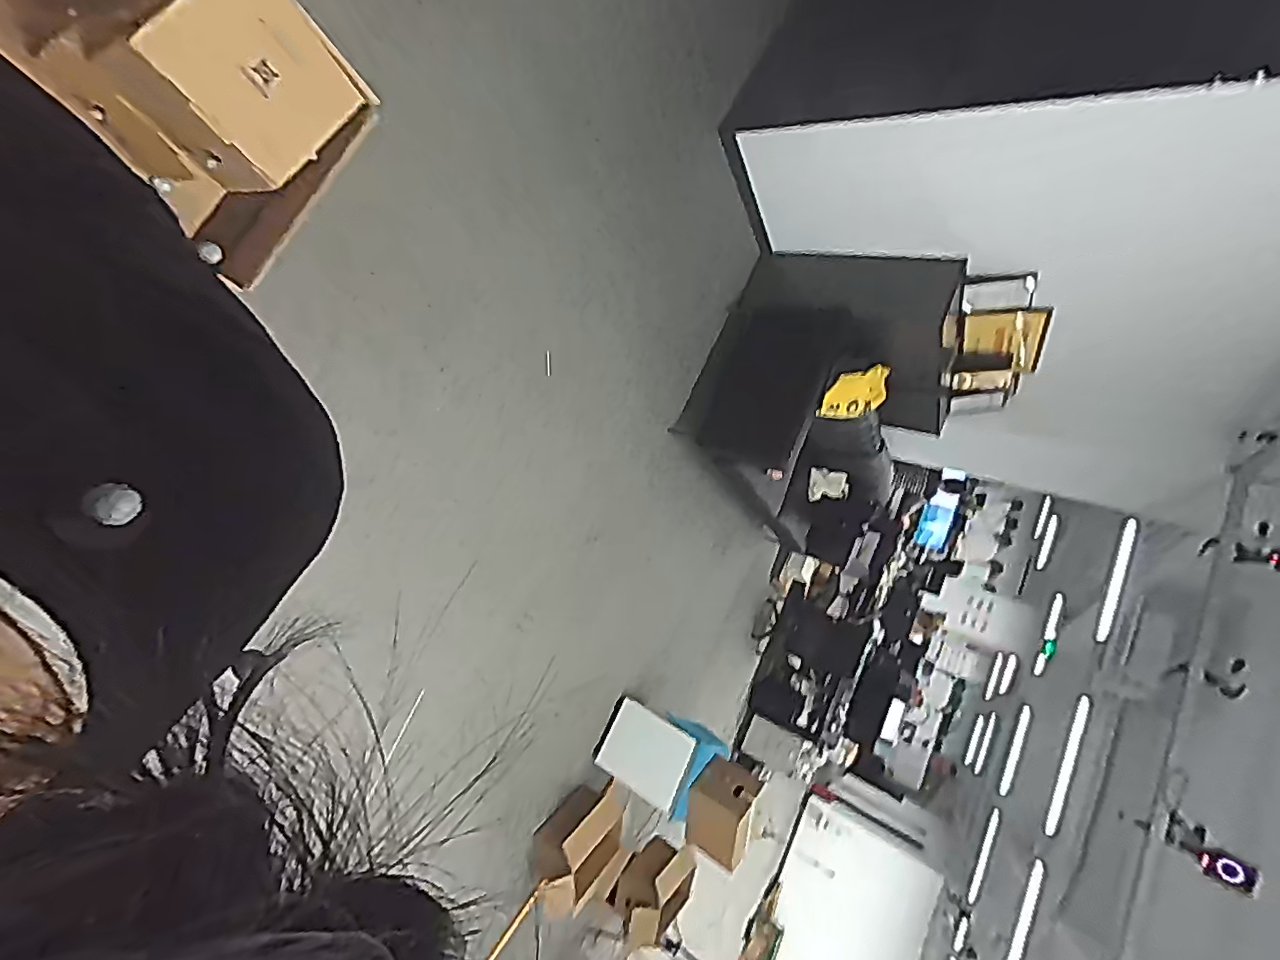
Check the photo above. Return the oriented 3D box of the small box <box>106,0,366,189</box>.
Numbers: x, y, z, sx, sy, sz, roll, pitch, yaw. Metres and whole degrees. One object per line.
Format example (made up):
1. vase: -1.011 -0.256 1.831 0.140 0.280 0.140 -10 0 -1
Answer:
1. small box: -0.489 -0.481 0.658 0.179 0.176 0.168 -60 147 -17
